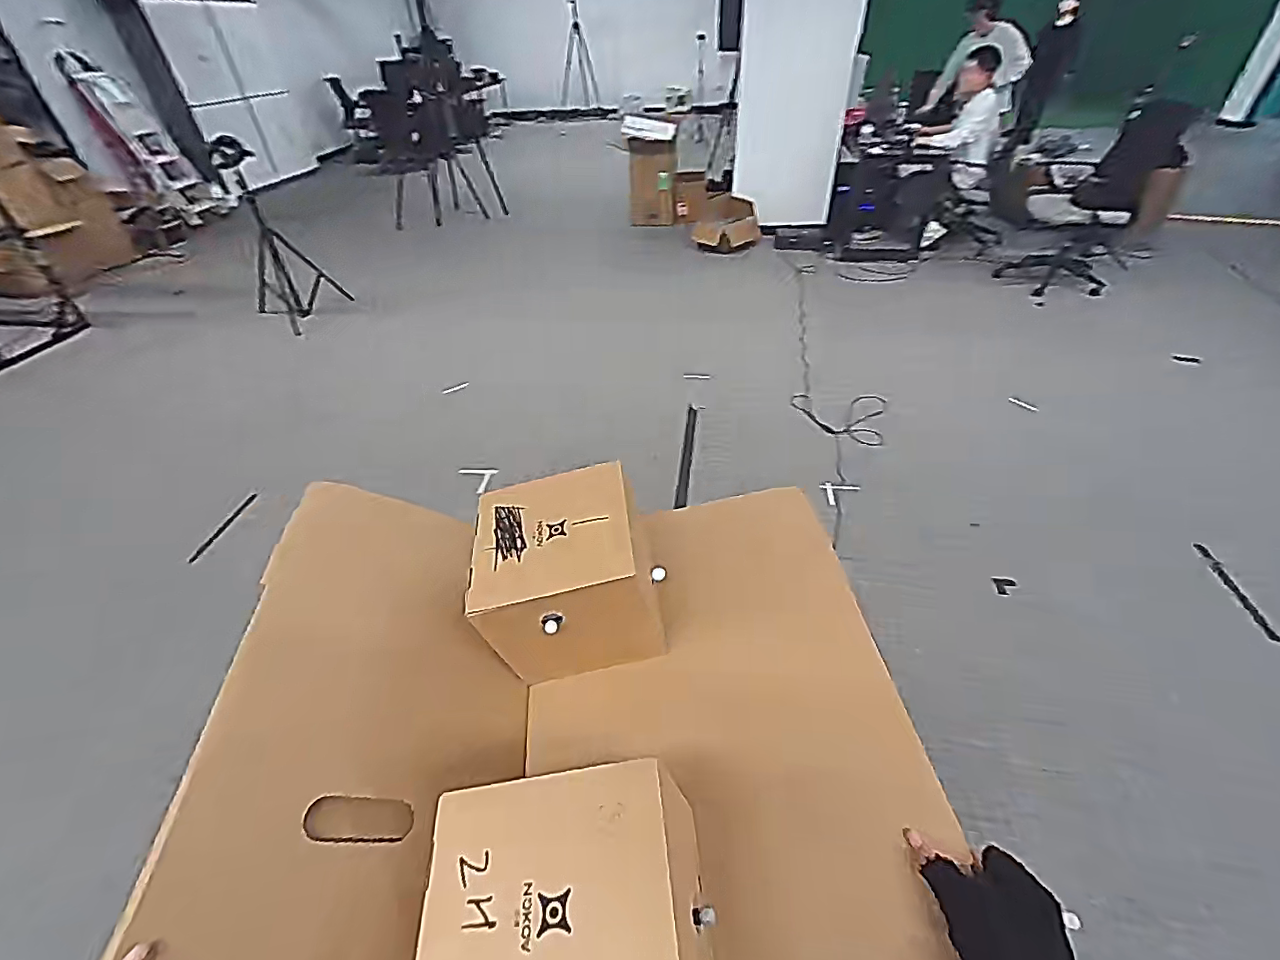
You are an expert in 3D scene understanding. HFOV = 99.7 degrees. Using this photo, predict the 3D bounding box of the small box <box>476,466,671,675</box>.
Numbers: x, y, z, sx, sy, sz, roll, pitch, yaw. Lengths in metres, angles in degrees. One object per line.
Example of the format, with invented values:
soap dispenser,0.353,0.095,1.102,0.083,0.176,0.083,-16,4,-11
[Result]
small box,-0.071,0.113,0.647,0.179,0.176,0.168,-13,45,4

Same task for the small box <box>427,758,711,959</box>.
small box,-0.041,0.338,0.422,0.179,0.176,0.168,-12,45,7
